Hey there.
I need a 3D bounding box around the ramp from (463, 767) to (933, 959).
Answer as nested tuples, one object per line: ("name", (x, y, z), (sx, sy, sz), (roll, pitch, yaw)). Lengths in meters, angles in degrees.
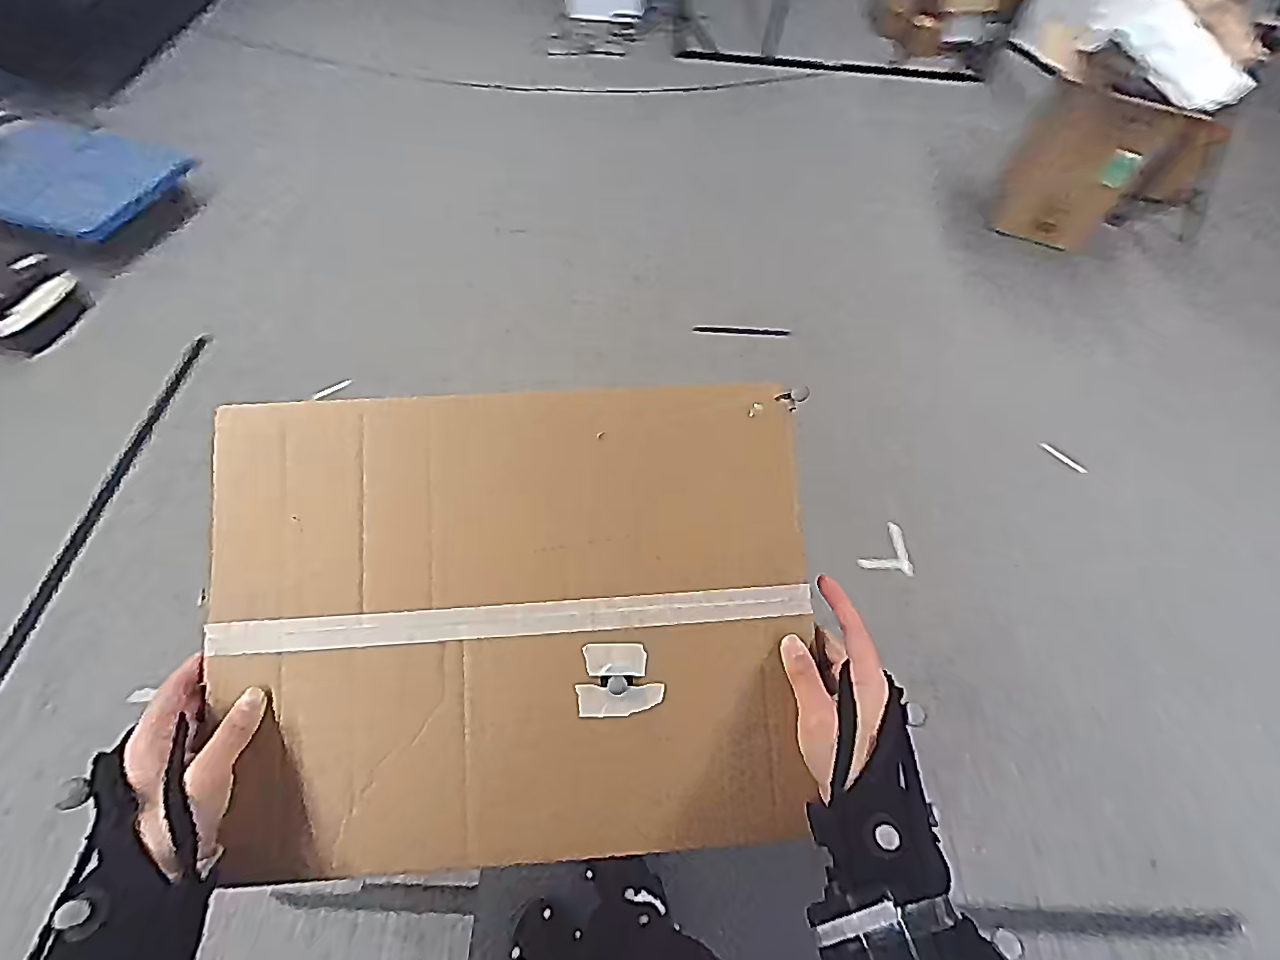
("ramp", (0.156, 0.892, 1.130), (0.991, 0.206, 0.509), (2, 57, -4))
